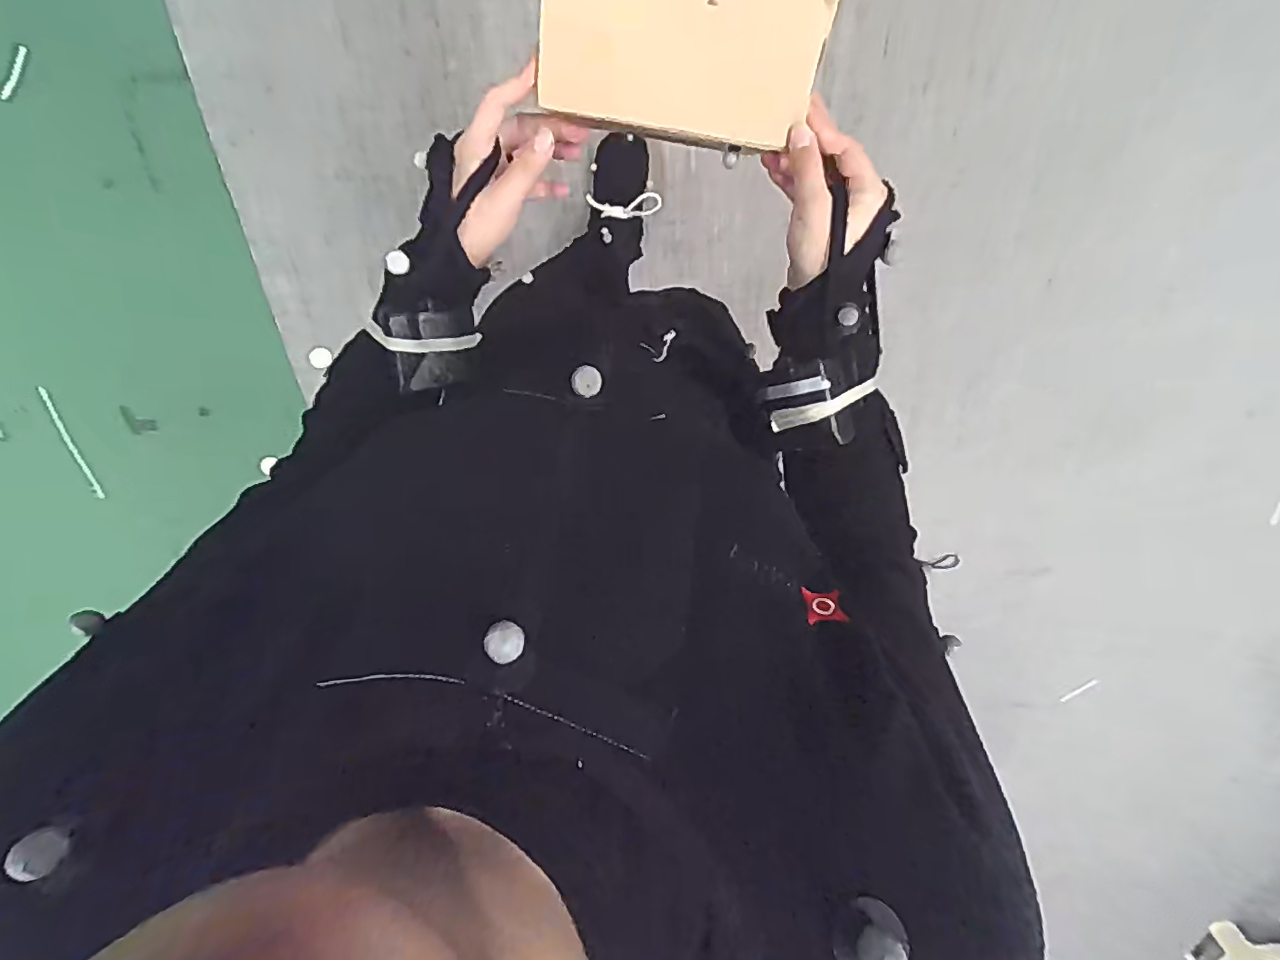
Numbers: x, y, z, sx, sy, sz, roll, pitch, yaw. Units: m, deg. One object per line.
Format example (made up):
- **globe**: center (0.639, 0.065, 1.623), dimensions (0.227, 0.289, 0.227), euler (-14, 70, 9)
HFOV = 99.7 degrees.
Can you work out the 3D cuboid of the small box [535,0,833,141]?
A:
- **small box**: center (0.029, -0.345, 0.376), dimensions (0.179, 0.176, 0.168), euler (6, 120, -6)
